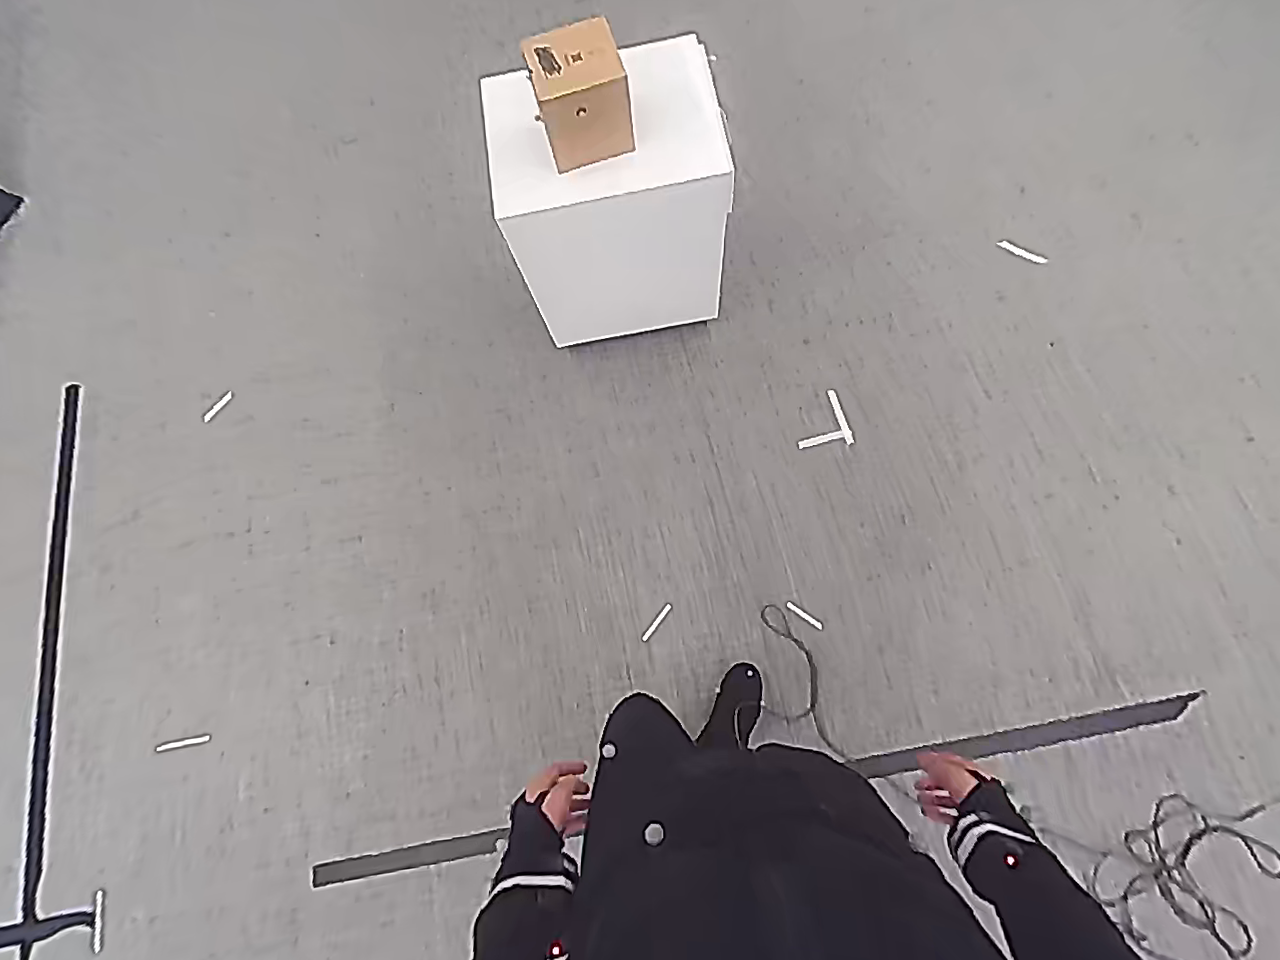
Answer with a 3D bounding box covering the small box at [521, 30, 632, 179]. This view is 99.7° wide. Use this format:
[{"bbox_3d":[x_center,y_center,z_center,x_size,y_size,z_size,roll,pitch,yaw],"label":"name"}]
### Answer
[{"bbox_3d":[-0.125,-0.763,1.116,0.179,0.176,0.168,-17,74,-1],"label":"small box"}]
